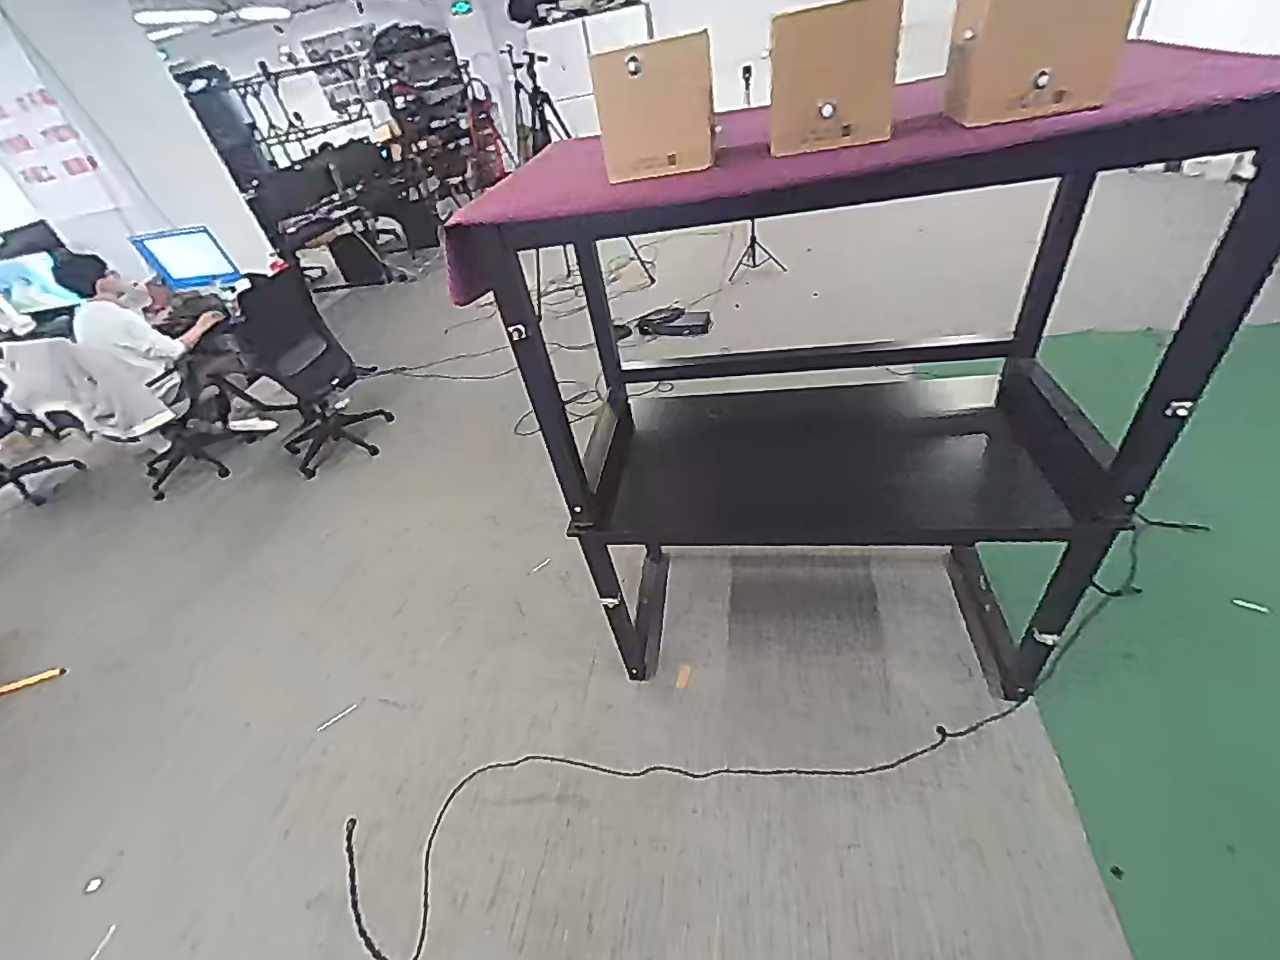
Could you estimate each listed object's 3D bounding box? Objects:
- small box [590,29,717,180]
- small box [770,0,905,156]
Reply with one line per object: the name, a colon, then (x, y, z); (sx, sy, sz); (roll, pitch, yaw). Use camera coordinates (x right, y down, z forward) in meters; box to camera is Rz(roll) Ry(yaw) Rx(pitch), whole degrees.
small box: (0.032, -0.591, 0.859); (0.168, 0.176, 0.179); (-2, 39, 13)
small box: (0.279, -0.598, 0.803); (0.168, 0.176, 0.179); (-1, 40, 14)
